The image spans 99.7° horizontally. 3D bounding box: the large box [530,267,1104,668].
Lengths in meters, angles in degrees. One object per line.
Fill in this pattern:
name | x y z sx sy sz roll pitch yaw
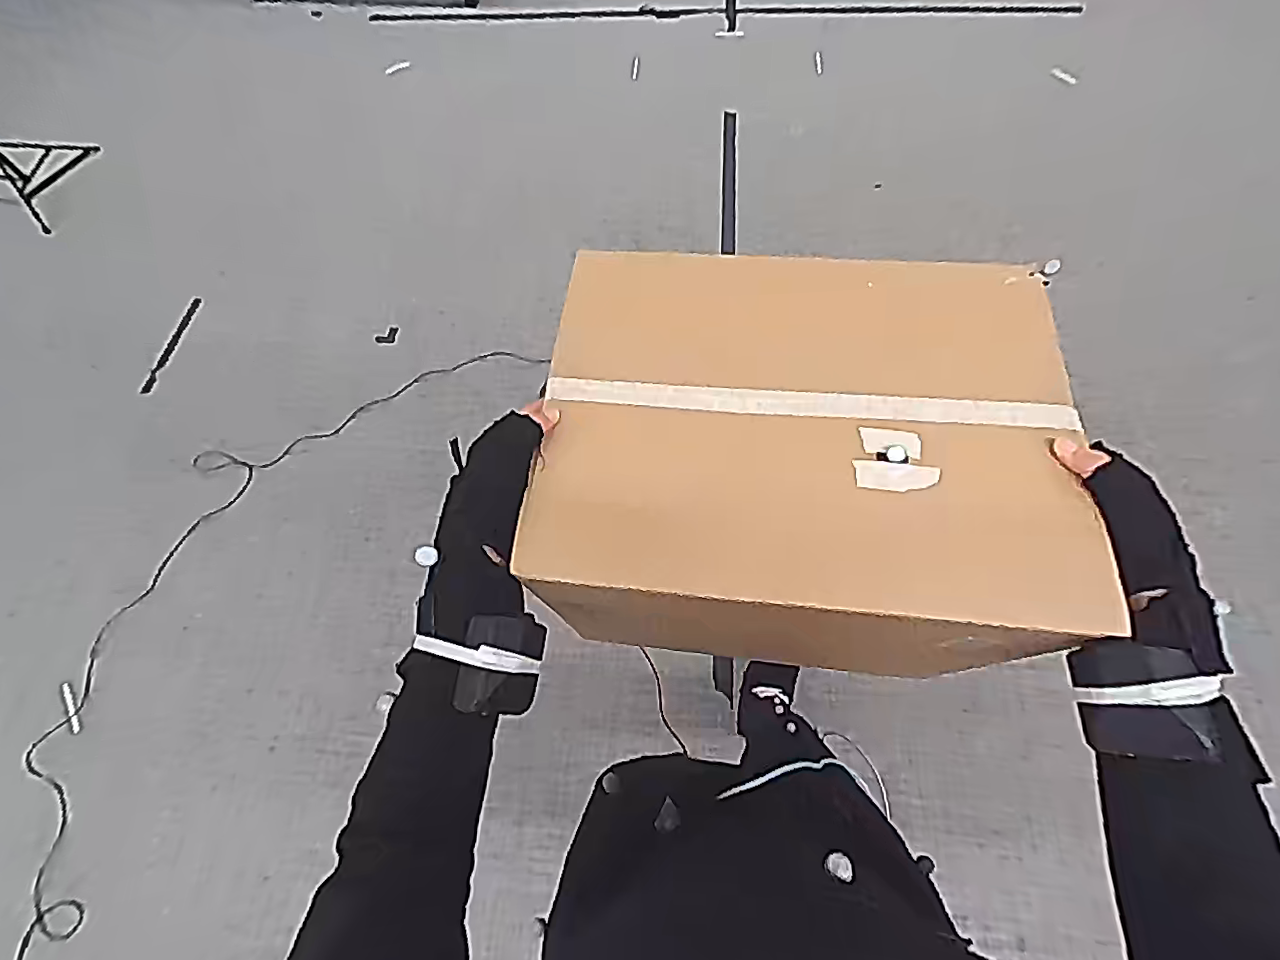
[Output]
large box | 0.136 0.007 0.572 0.408 0.320 0.320 4 67 6
